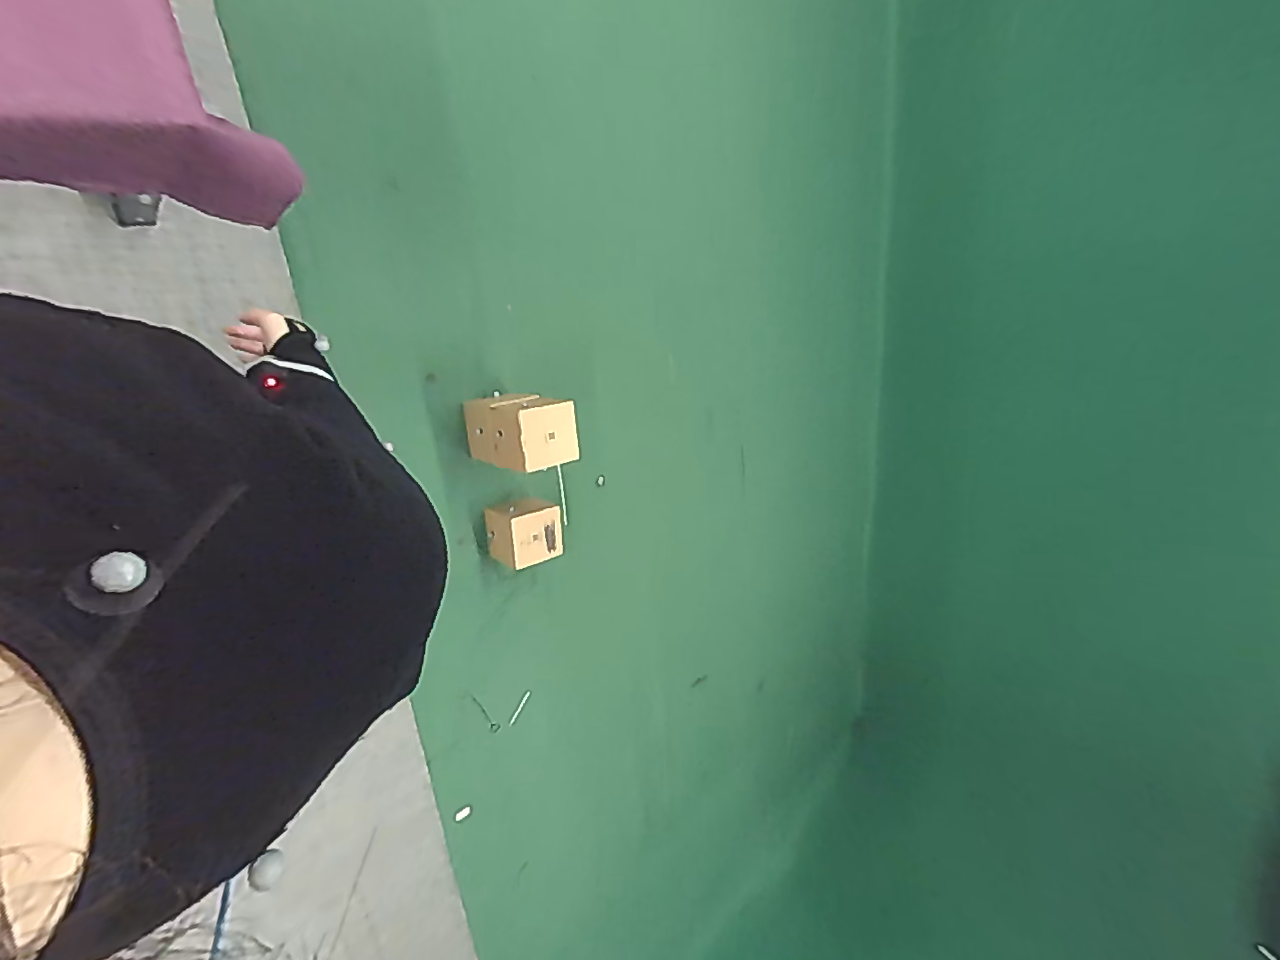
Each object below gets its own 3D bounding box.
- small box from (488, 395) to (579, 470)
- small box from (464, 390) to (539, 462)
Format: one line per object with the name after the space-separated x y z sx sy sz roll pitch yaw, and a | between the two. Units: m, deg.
-0.293 -0.138 1.489 0.179 0.176 0.168 -19 112 -39 | small box
-0.403 -0.166 1.607 0.168 0.176 0.179 -20 112 -40 | small box
